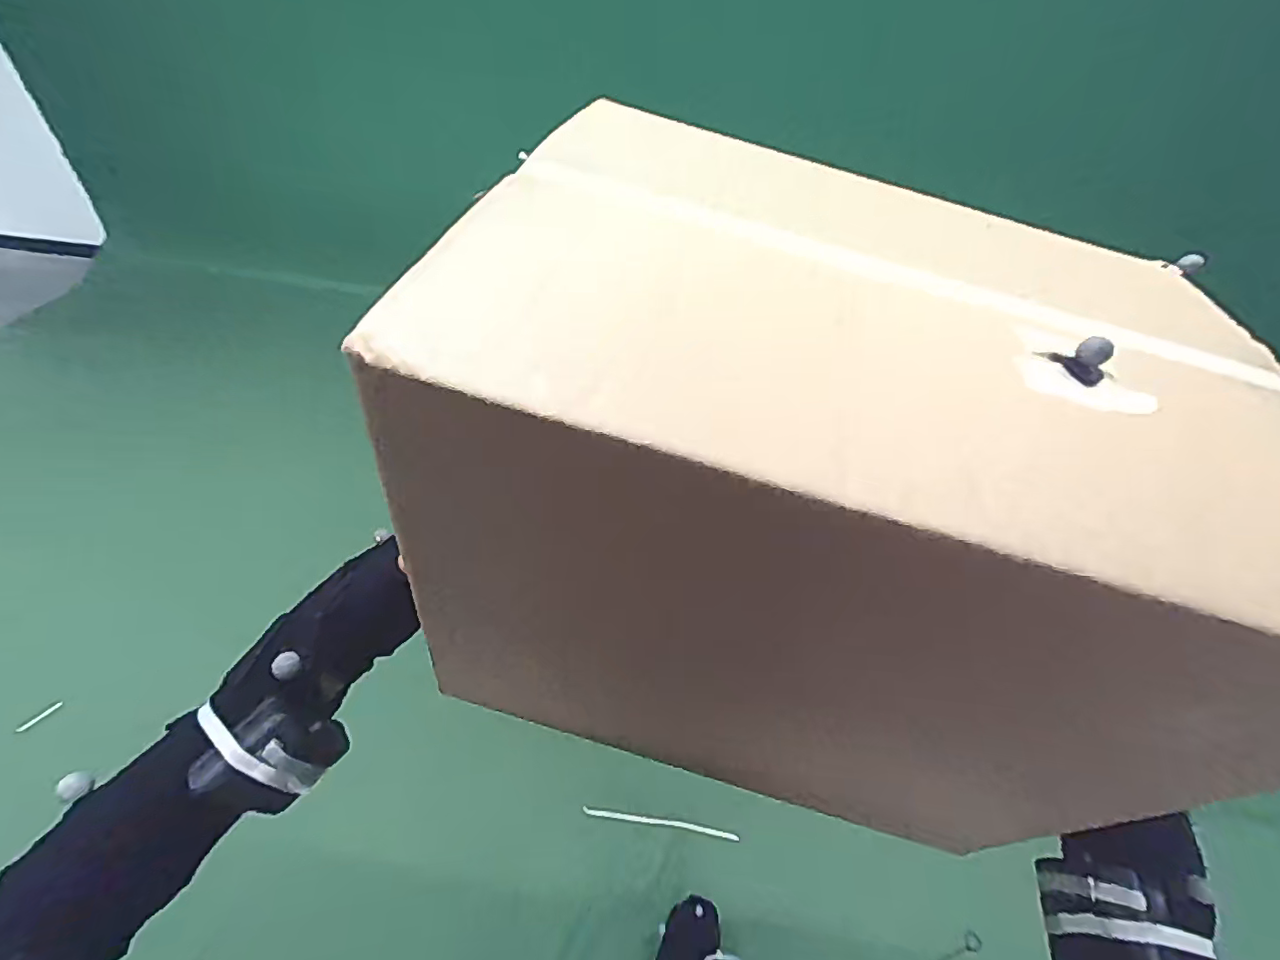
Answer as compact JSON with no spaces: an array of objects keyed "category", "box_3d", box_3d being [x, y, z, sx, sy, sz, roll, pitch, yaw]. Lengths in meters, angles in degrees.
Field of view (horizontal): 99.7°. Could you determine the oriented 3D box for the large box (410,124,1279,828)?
[{"category":"large box","box_3d":[0.108,0.005,0.397,0.408,0.320,0.320,18,49,0]}]
